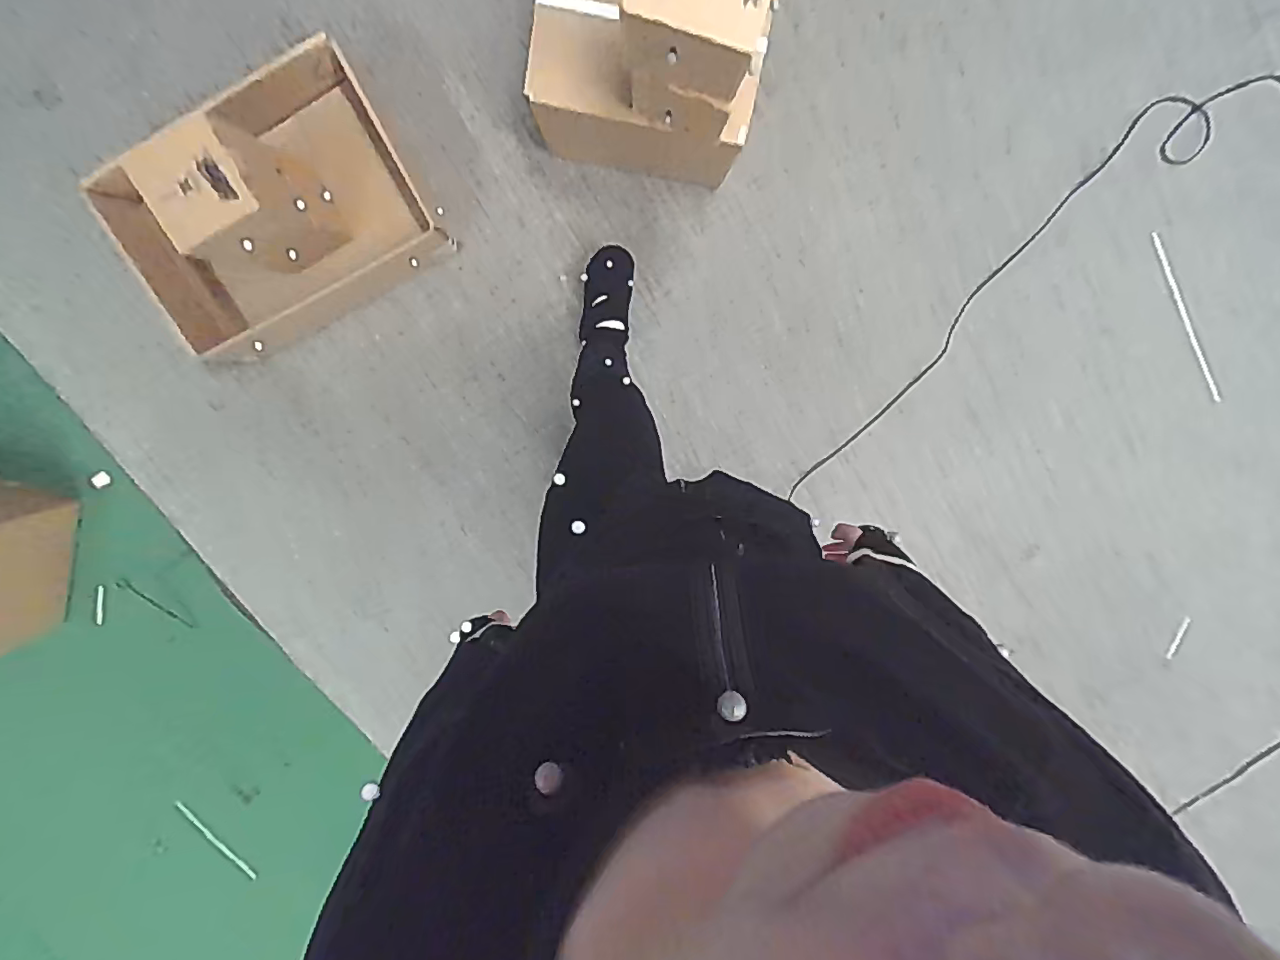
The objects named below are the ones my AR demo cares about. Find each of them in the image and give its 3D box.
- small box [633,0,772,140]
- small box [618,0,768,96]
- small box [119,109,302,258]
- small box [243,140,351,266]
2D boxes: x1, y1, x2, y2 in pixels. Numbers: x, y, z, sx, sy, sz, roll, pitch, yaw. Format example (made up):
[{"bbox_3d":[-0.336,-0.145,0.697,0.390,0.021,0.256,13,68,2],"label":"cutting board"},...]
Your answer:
[{"bbox_3d":[0.091,-0.688,0.866,0.168,0.176,0.179,19,107,-6],"label":"small box"},{"bbox_3d":[0.079,-0.643,0.708,0.179,0.176,0.168,15,108,-4],"label":"small box"},{"bbox_3d":[-0.767,-0.531,0.995,0.179,0.176,0.168,-25,104,7],"label":"small box"},{"bbox_3d":[-0.768,-0.576,1.154,0.179,0.176,0.168,-26,104,6],"label":"small box"}]
